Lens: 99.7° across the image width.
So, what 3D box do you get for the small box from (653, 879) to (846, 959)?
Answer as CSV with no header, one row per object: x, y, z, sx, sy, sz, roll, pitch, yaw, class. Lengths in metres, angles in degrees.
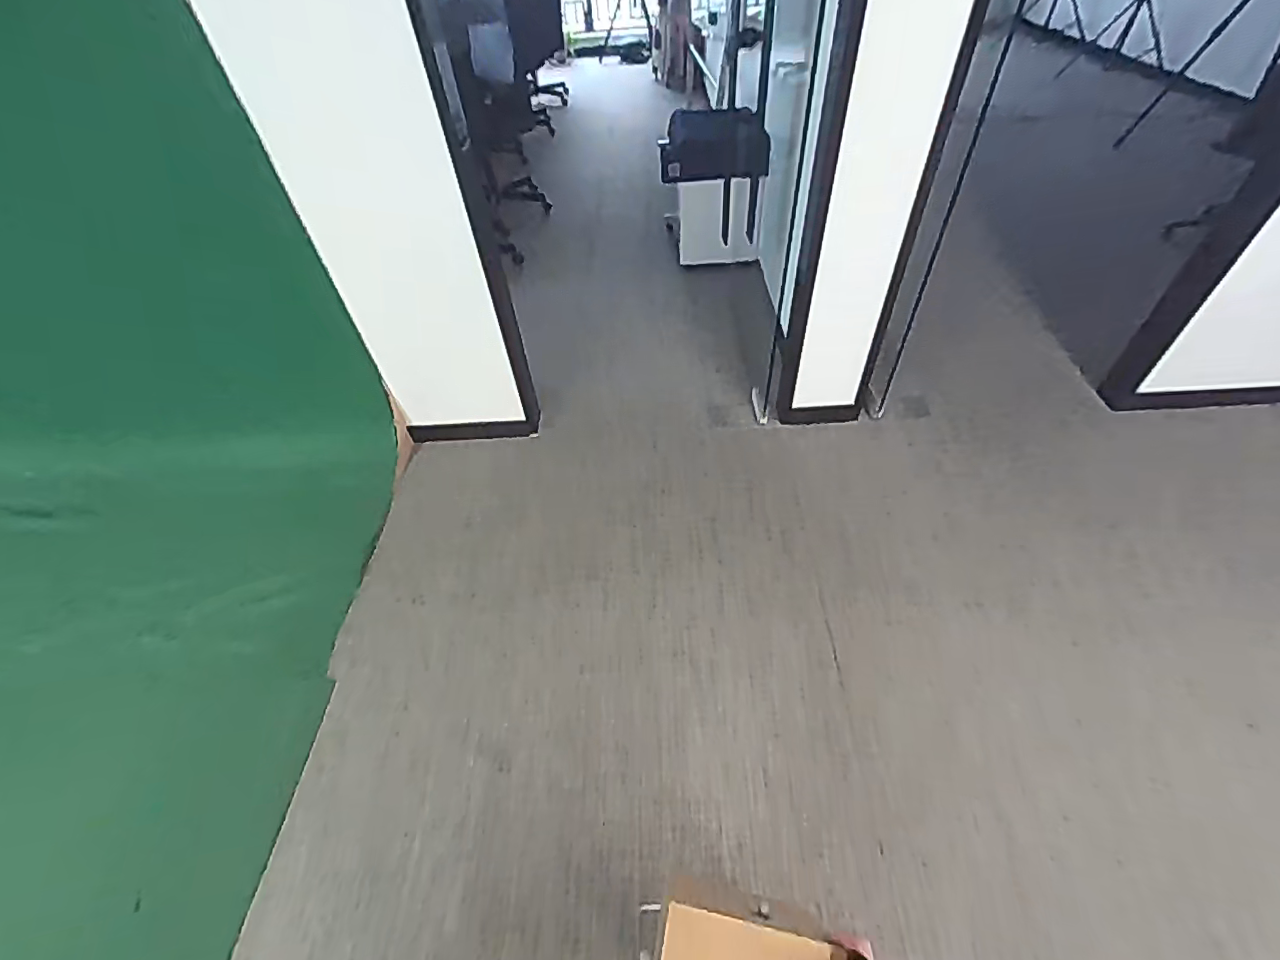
0.099,0.541,0.558,0.179,0.176,0.168,10,64,8,small box
